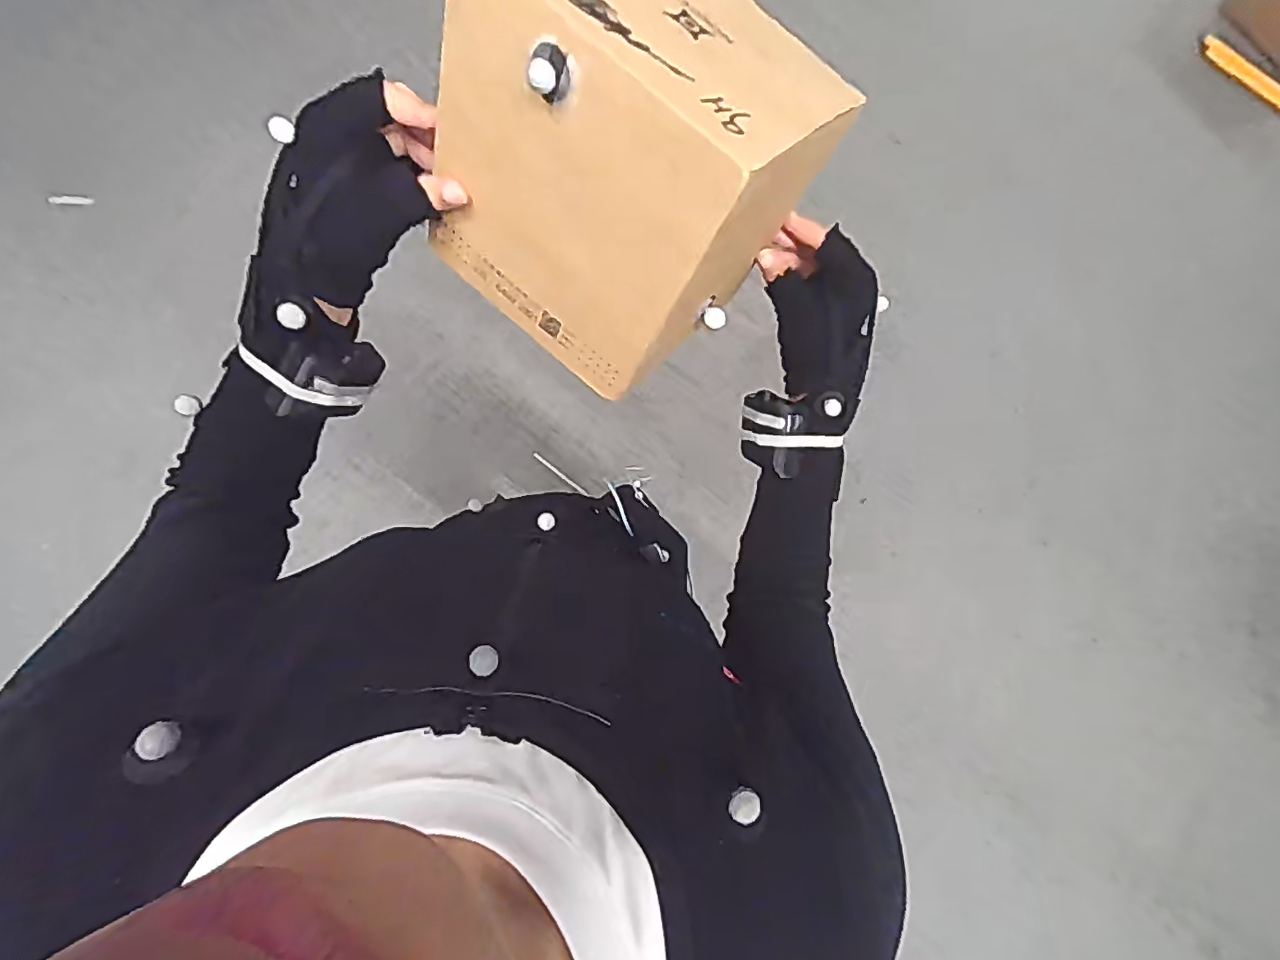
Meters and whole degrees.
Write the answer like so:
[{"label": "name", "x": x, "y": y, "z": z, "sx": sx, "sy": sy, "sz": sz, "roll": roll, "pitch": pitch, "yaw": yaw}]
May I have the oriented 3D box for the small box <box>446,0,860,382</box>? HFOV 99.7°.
[{"label": "small box", "x": -0.001, "y": -0.199, "z": 0.344, "sx": 0.168, "sy": 0.176, "sz": 0.179, "roll": 40, "pitch": 53, "yaw": 2}]
